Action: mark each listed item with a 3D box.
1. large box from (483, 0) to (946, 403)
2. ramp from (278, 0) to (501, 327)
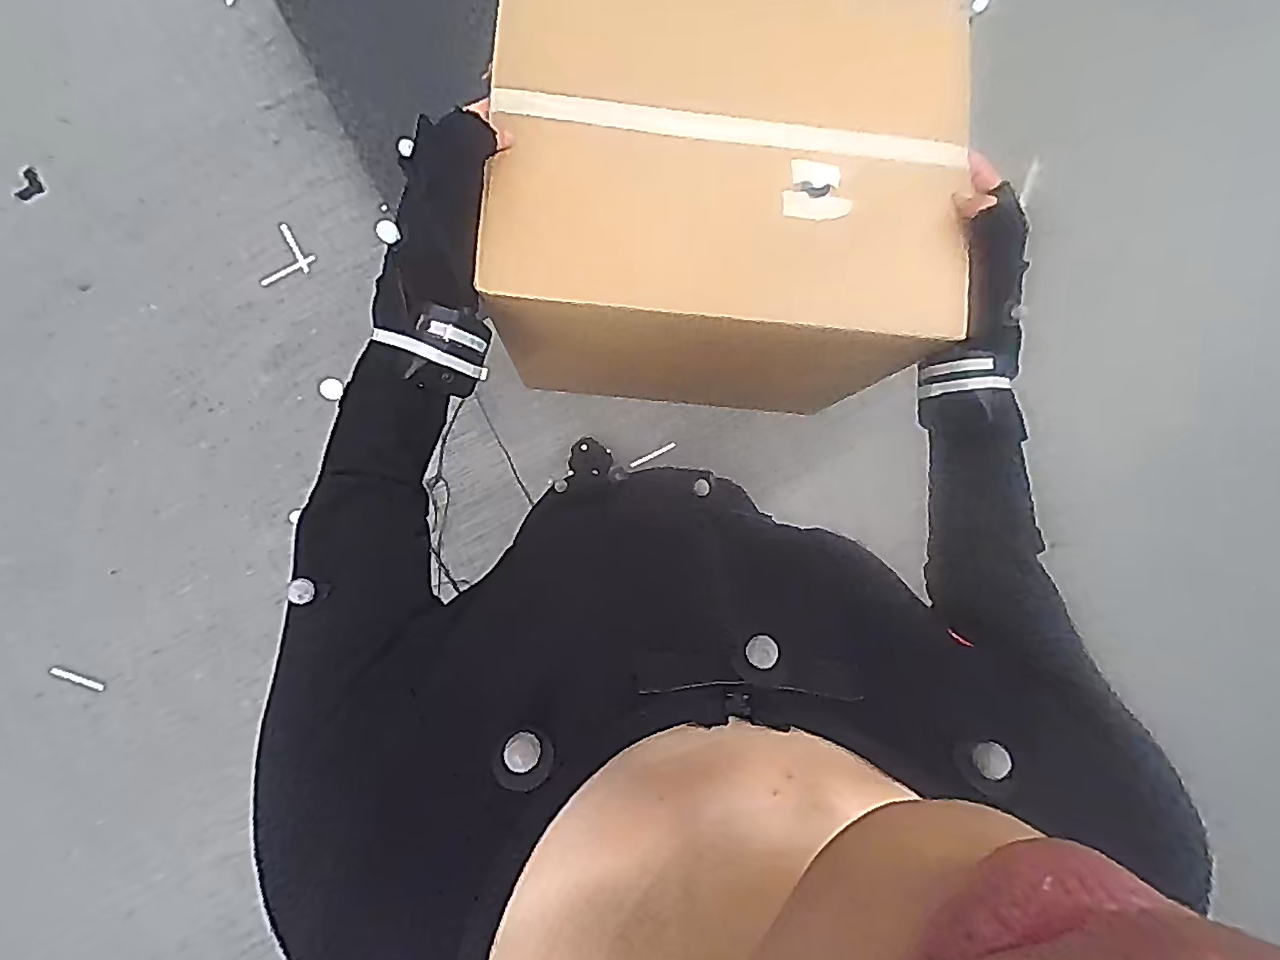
[{"bbox_3d":[0.060,-0.281,0.614,0.408,0.320,0.320,4,85,-5],"label":"large box"},{"bbox_3d":[-0.488,-0.951,1.363,0.509,0.206,0.991,-29,93,-3],"label":"ramp"}]
